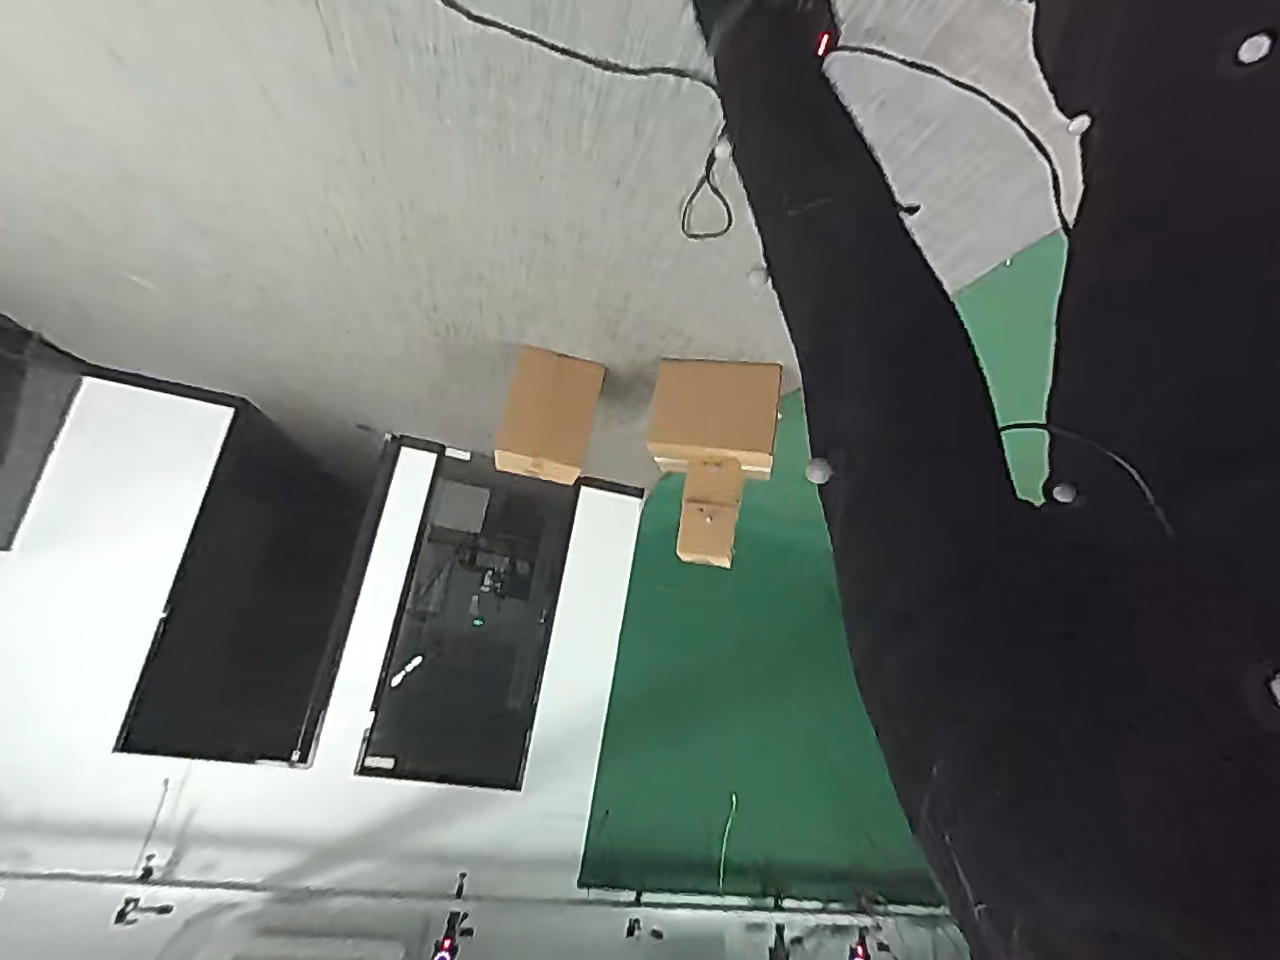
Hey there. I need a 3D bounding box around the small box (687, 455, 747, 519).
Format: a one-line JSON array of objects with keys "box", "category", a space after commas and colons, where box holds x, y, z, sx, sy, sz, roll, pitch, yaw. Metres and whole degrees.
[{"box": [0.264, 0.024, 1.817, 0.168, 0.176, 0.179, 5, 165, 19], "category": "small box"}]

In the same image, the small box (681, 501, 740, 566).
[{"box": [0.235, 0.177, 1.767, 0.168, 0.176, 0.179, 6, 165, 14], "category": "small box"}]
